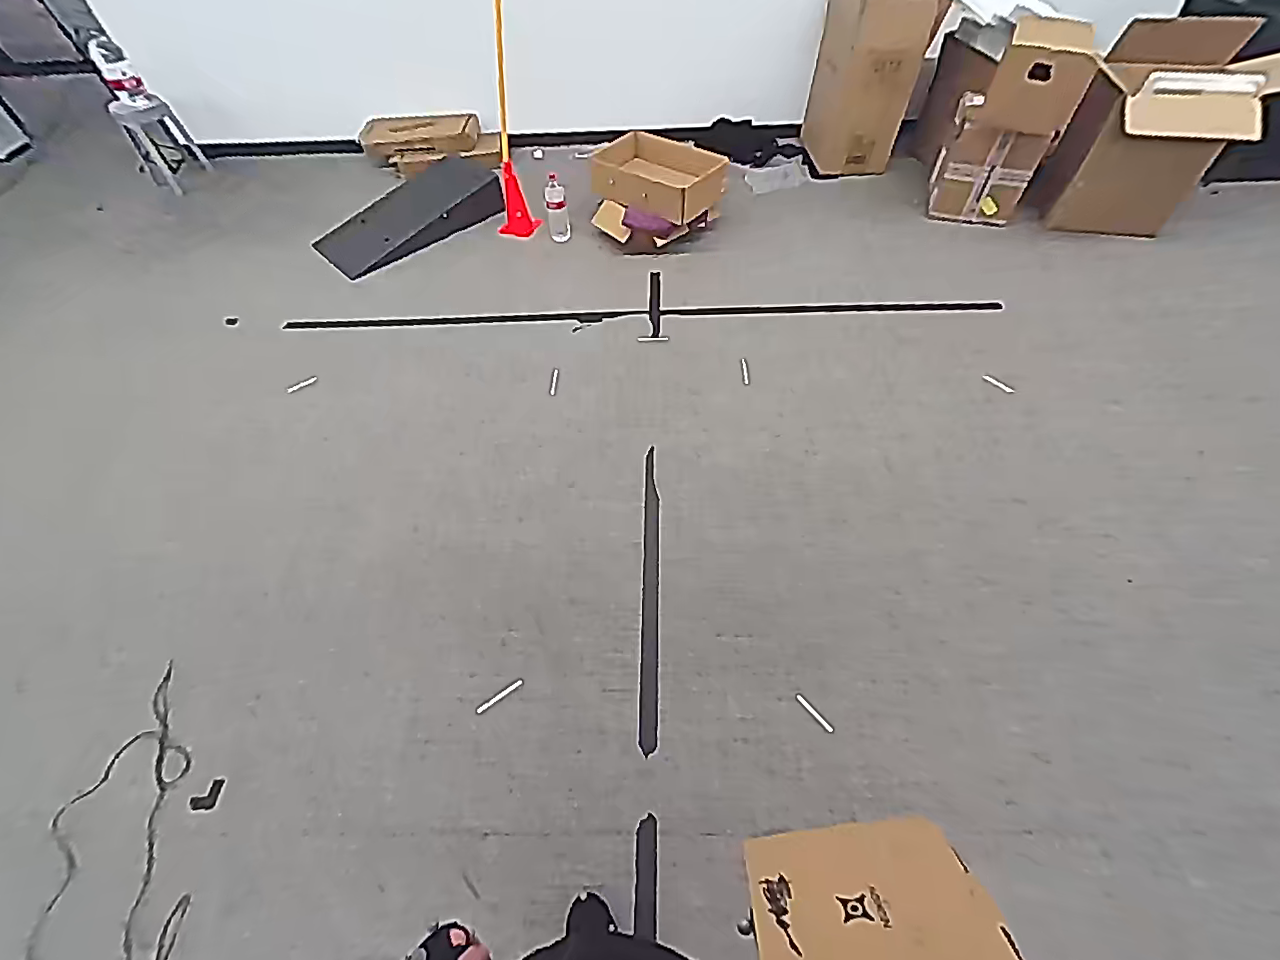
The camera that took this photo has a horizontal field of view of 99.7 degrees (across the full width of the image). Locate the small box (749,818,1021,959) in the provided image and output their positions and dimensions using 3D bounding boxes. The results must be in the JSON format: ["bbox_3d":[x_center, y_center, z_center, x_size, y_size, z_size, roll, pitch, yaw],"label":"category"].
[{"bbox_3d":[0.195,0.416,0.436,0.179,0.168,0.176,-11,95,6],"label":"small box"}]
